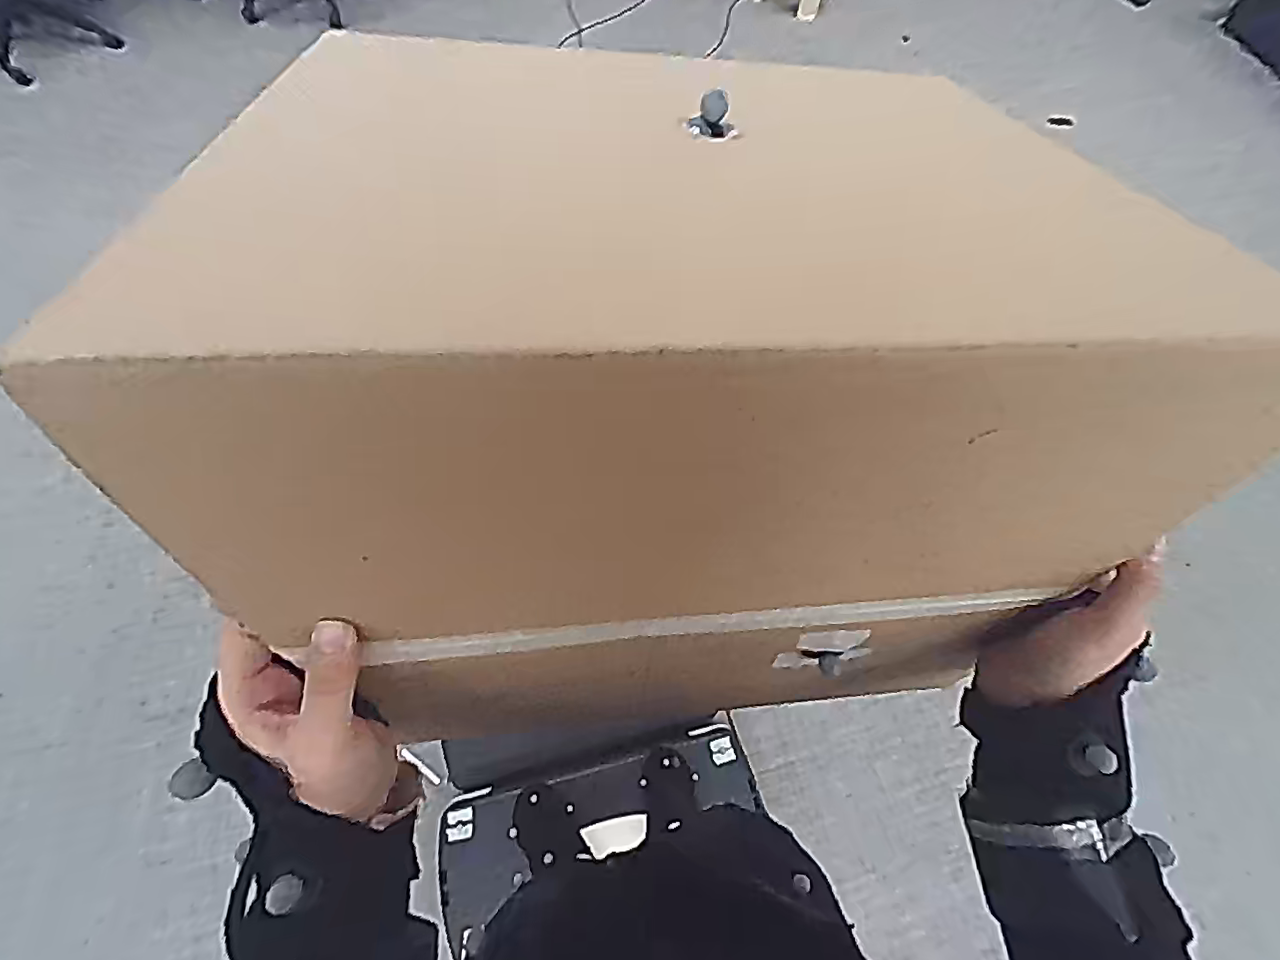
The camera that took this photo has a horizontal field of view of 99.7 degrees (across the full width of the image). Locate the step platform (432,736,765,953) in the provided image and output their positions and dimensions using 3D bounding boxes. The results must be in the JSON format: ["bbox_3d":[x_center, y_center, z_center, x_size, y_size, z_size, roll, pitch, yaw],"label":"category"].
[{"bbox_3d":[-0.083,0.758,1.164,0.684,0.204,0.286,-7,67,-6],"label":"step platform"}]
